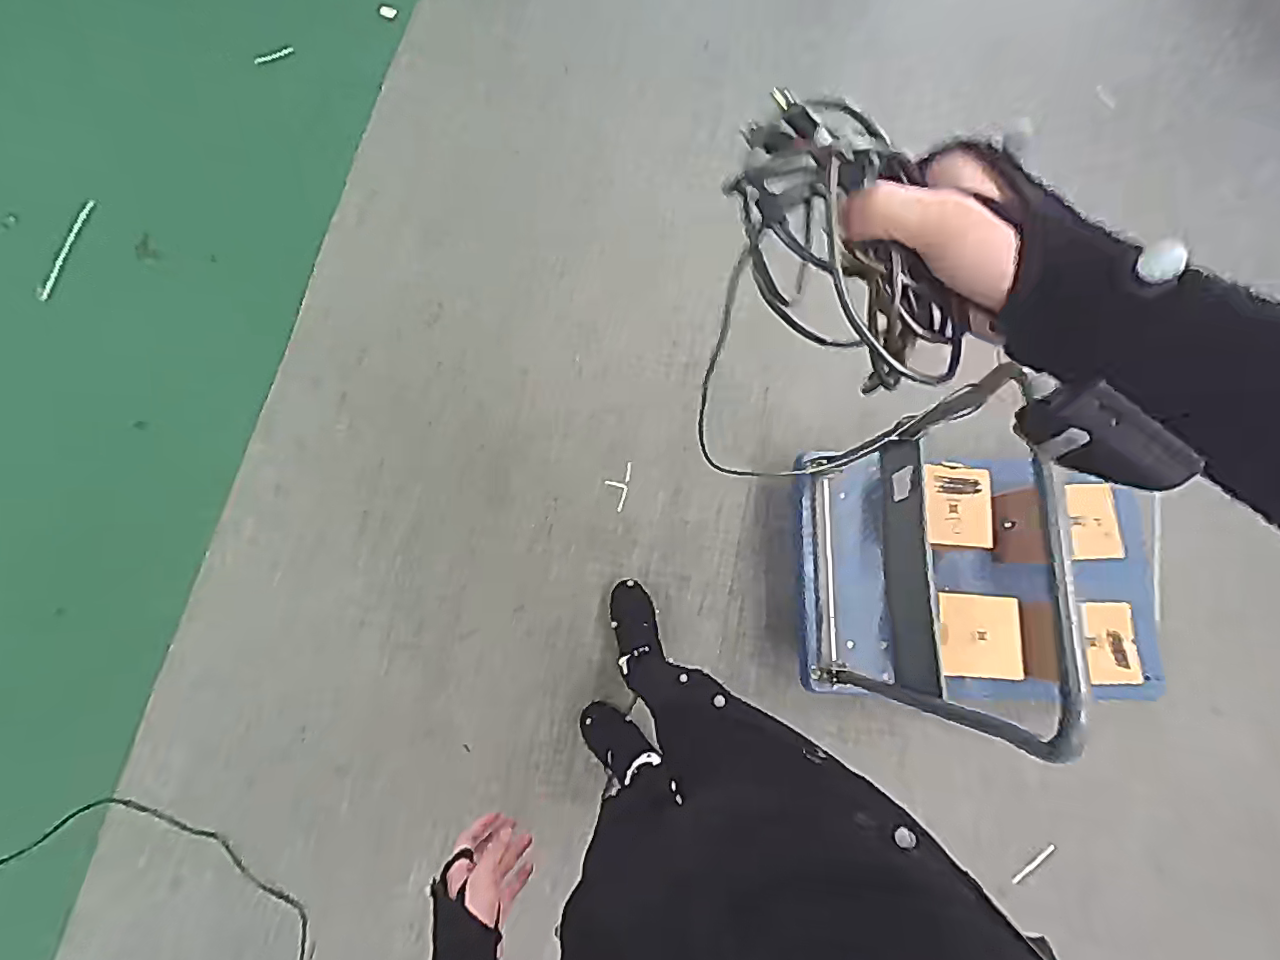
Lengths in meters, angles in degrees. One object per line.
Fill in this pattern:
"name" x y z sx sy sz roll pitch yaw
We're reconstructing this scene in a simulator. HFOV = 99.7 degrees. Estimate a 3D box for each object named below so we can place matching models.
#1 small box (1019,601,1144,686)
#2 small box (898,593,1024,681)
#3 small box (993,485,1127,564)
"small box" 0.944 0.356 1.196 0.179 0.176 0.168 1 78 -2
"small box" 0.696 0.338 1.187 0.179 0.176 0.168 4 78 -2
"small box" 0.952 0.107 1.247 0.179 0.176 0.168 -1 79 -4
